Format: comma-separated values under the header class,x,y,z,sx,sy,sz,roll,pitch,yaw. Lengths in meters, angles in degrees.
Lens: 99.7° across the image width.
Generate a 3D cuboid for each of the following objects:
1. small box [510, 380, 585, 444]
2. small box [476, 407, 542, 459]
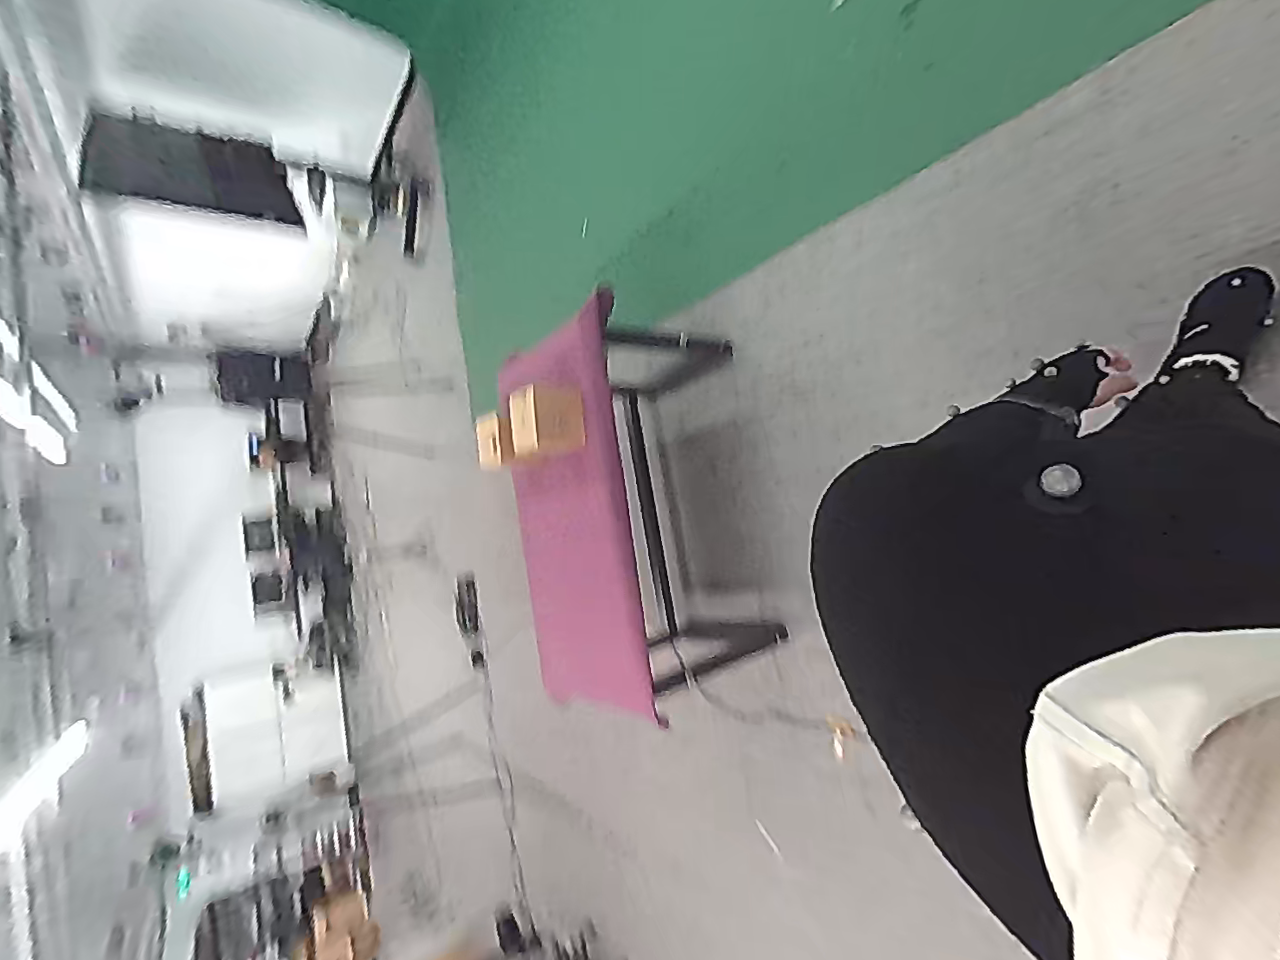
class,x,y,z,sx,sy,sz,roll,pitch,yaw
small box,-0.284,-0.211,1.675,0.168,0.176,0.179,-6,91,52
small box,-0.450,-0.165,1.885,0.179,0.176,0.168,-4,91,51
